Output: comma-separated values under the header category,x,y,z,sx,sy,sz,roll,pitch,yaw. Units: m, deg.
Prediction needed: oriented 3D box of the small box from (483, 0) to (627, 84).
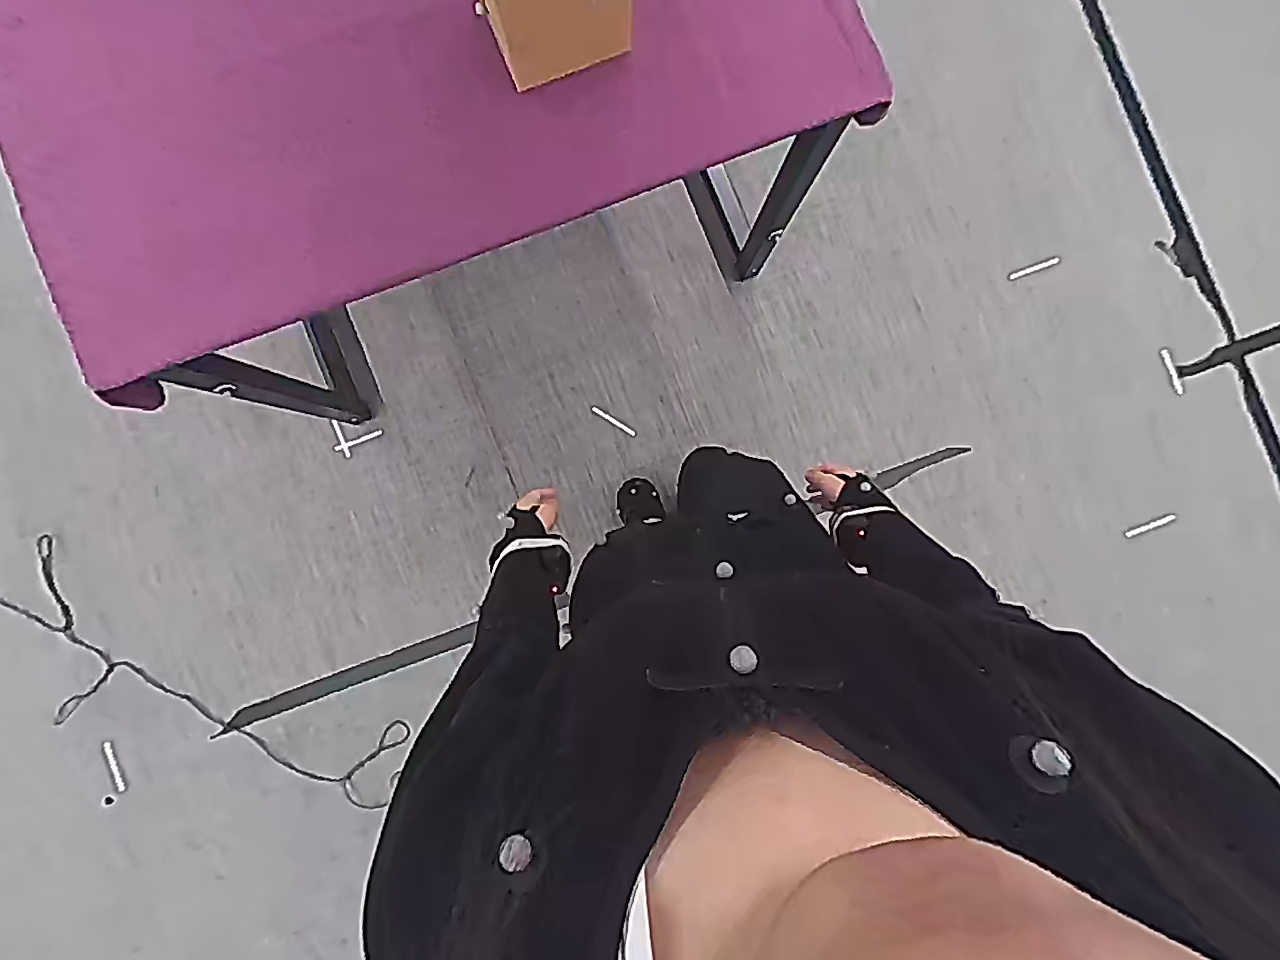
category,x,y,z,sx,sy,sz,roll,pitch,yaw
small box,-0.121,-0.665,0.692,0.179,0.176,0.168,-22,89,-1
